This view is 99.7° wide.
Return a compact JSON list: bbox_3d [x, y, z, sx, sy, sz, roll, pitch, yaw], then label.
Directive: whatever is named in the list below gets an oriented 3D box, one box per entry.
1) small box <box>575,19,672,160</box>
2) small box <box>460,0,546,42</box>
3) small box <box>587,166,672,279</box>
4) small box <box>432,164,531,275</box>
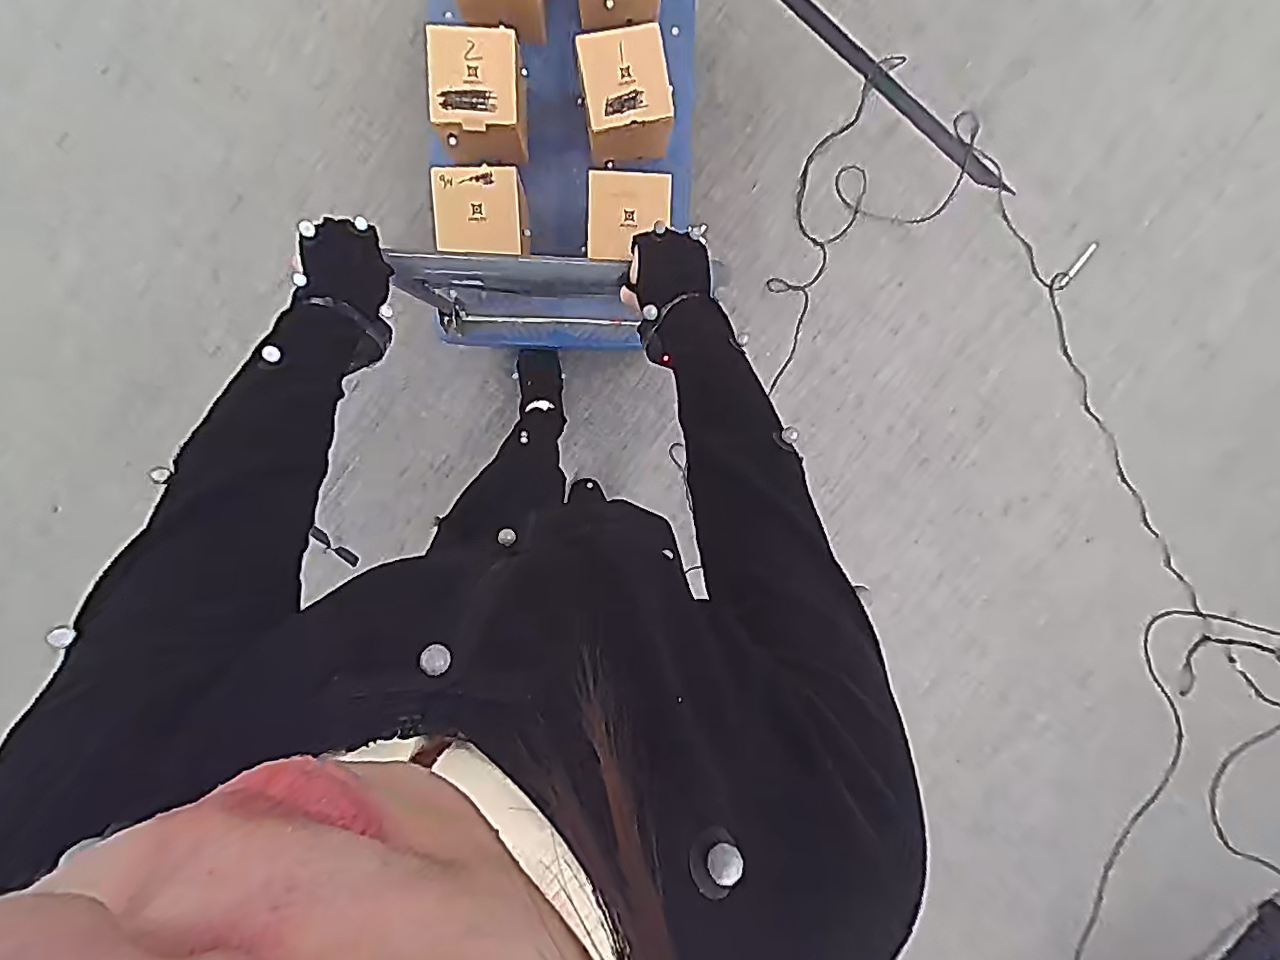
[{"bbox_3d":[-0.034,-0.794,1.123,0.168,0.176,0.179,-11,97,-2],"label":"small box"},{"bbox_3d":[-0.278,-1.030,1.076,0.168,0.176,0.179,2,98,-4],"label":"small box"},{"bbox_3d":[-0.026,-0.538,1.155,0.168,0.176,0.179,1,96,-4],"label":"small box"},{"bbox_3d":[-0.323,-0.536,1.134,0.168,0.176,0.179,-3,97,-4],"label":"small box"}]
